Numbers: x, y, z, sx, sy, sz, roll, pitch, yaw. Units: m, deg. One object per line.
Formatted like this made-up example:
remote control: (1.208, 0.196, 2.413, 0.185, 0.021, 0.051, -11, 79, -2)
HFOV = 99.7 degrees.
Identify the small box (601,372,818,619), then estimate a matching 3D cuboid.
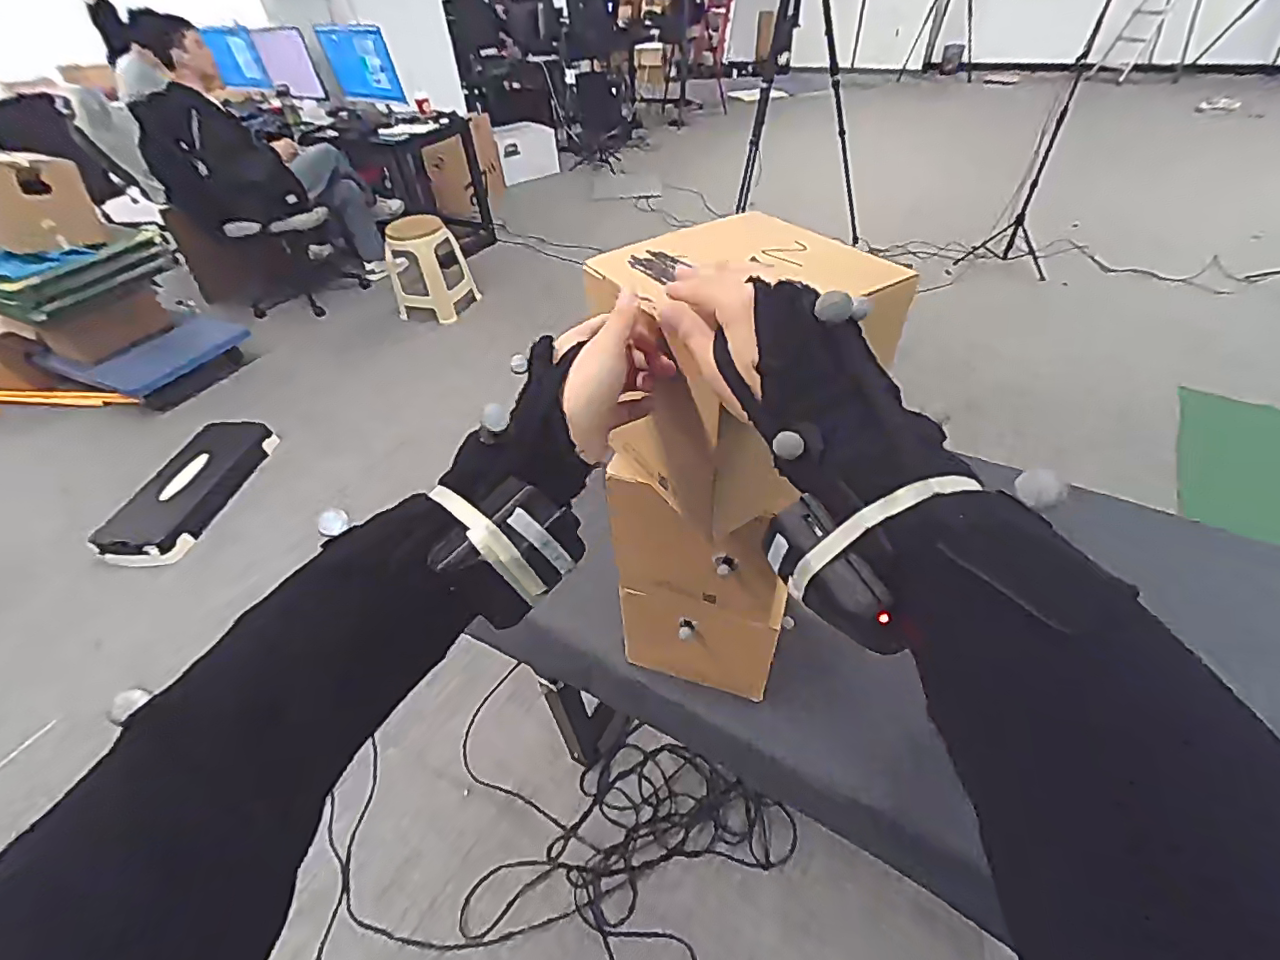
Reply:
small box: (0.076, 0.015, 0.562, 0.168, 0.176, 0.179, 14, 45, 17)

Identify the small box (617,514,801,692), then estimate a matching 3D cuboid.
small box: (0.088, 0.137, 0.670, 0.179, 0.176, 0.168, 12, 46, 17)
